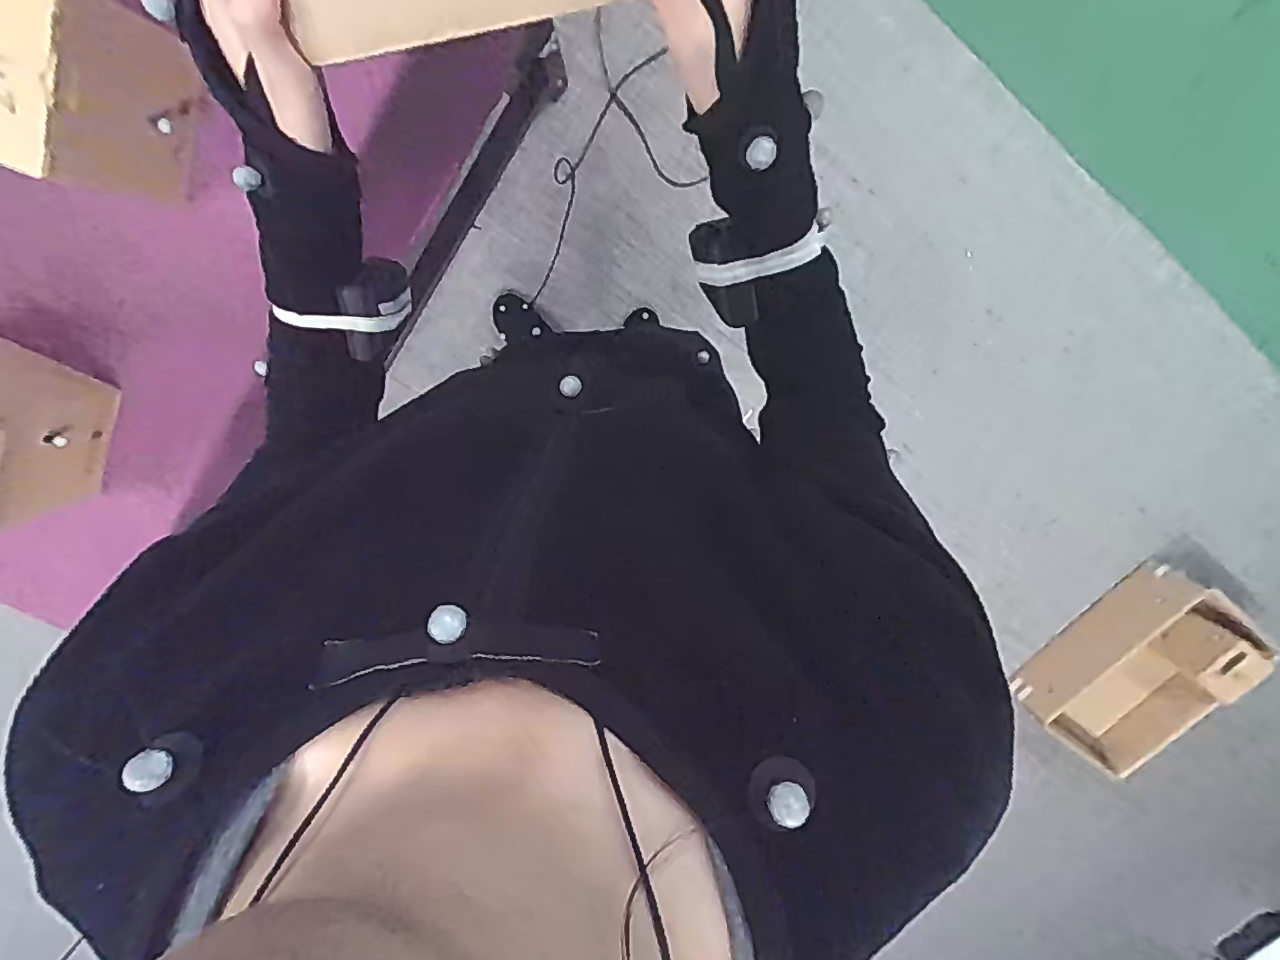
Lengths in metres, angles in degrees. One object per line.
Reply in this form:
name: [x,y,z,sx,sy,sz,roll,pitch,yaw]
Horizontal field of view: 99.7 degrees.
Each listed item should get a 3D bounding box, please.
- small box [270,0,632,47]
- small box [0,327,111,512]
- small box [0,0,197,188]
small box: [-0.085,-0.320,0.225,0.179,0.176,0.168,-1,147,9]
small box: [-0.790,-0.075,0.632,0.179,0.176,0.168,28,105,-11]
small box: [-0.587,-0.406,0.518,0.179,0.176,0.168,22,108,-9]
